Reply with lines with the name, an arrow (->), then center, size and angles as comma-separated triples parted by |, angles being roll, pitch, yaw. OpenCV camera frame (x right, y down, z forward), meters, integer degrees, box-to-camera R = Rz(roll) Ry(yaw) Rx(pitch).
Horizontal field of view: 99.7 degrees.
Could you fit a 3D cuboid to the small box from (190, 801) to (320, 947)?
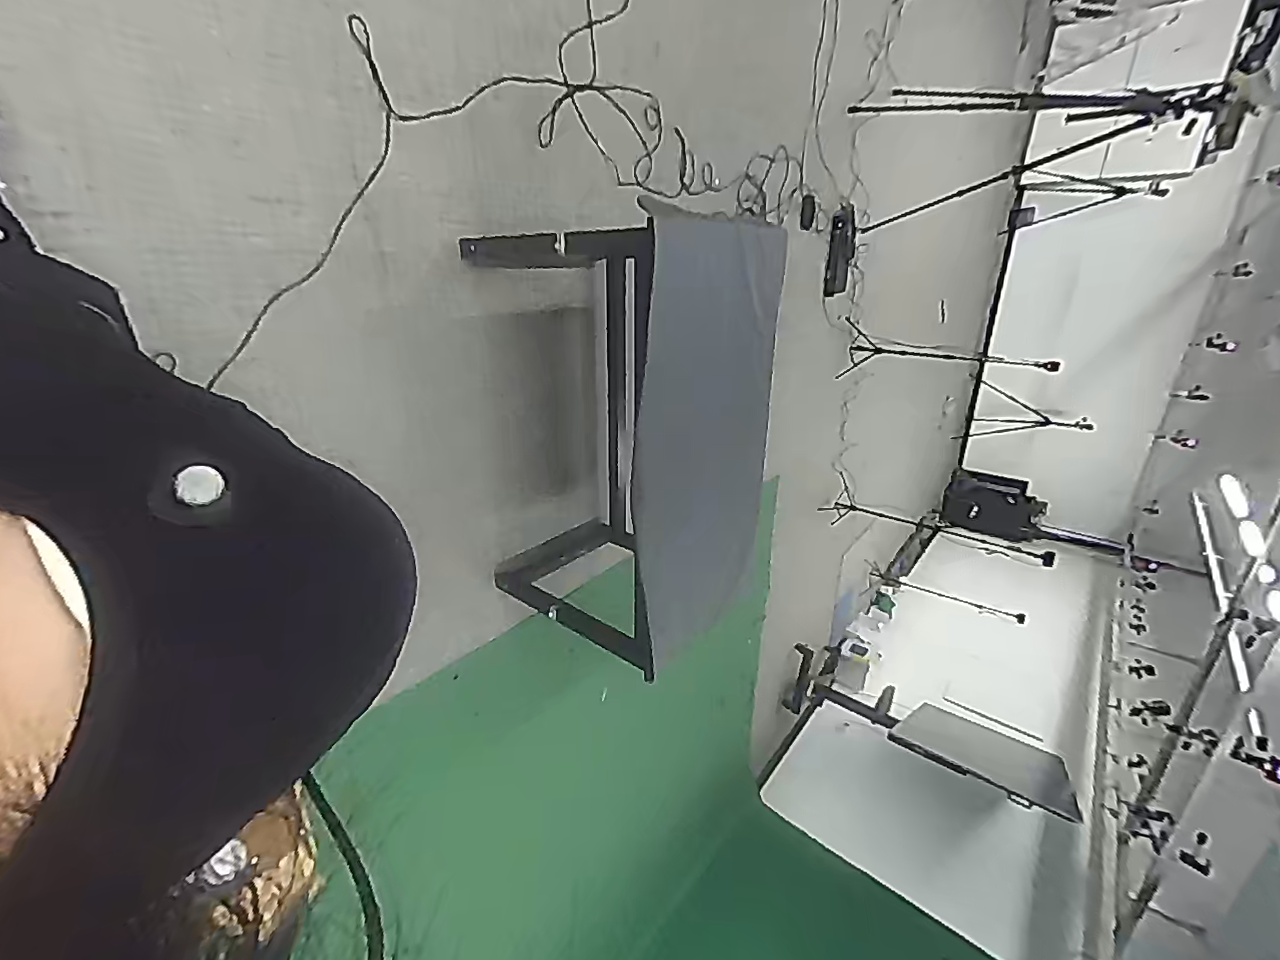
small box -> -0.883, 0.892, 1.243 | 0.179, 0.176, 0.168 | -31, 125, -40
